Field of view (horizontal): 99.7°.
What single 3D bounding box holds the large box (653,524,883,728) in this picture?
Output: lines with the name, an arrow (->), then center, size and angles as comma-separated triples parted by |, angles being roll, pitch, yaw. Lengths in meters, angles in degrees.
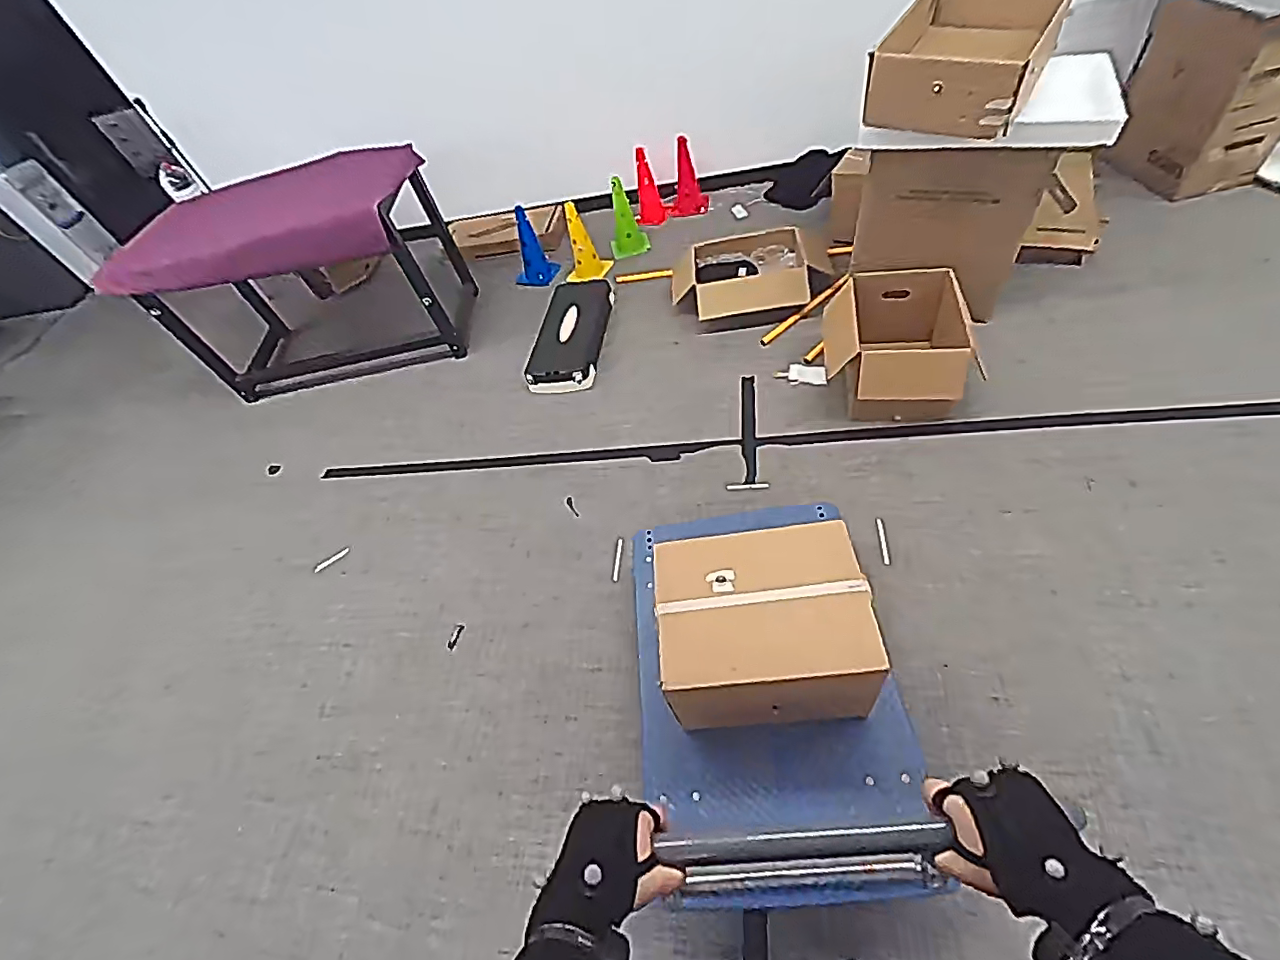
large box -> 0.262, 0.331, 1.183 | 0.408, 0.320, 0.320 | -9, 50, 9
